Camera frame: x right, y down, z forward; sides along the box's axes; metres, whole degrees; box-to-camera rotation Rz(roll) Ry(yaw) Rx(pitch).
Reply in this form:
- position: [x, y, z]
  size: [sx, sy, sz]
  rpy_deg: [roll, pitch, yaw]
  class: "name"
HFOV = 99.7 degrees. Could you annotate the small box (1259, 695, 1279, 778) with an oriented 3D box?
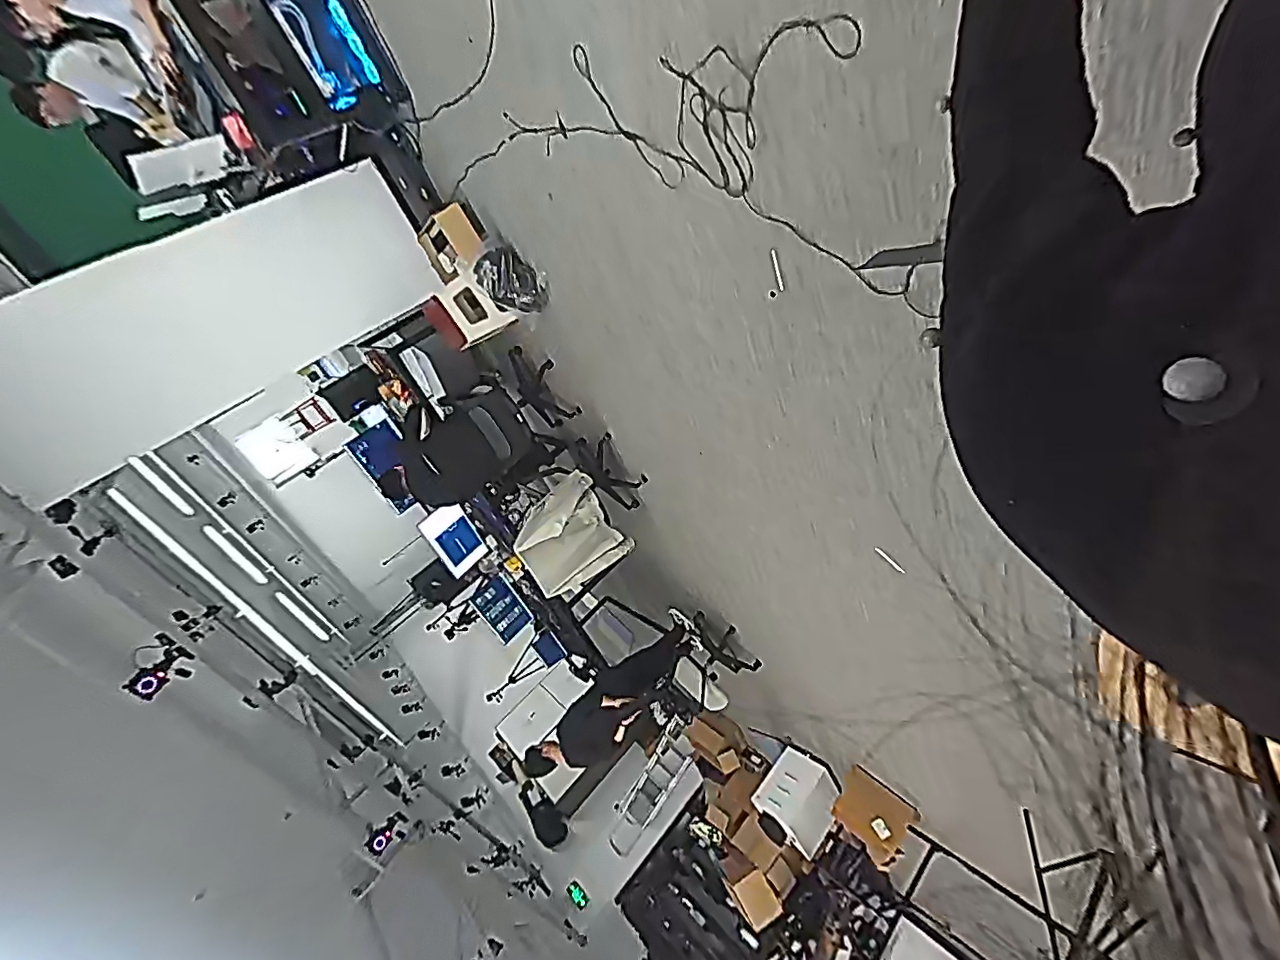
- position: [1.821, 0.717, 1.459]
  size: [0.168, 0.176, 0.179]
  rpy_deg: [14, 139, 52]
  class: "small box"
